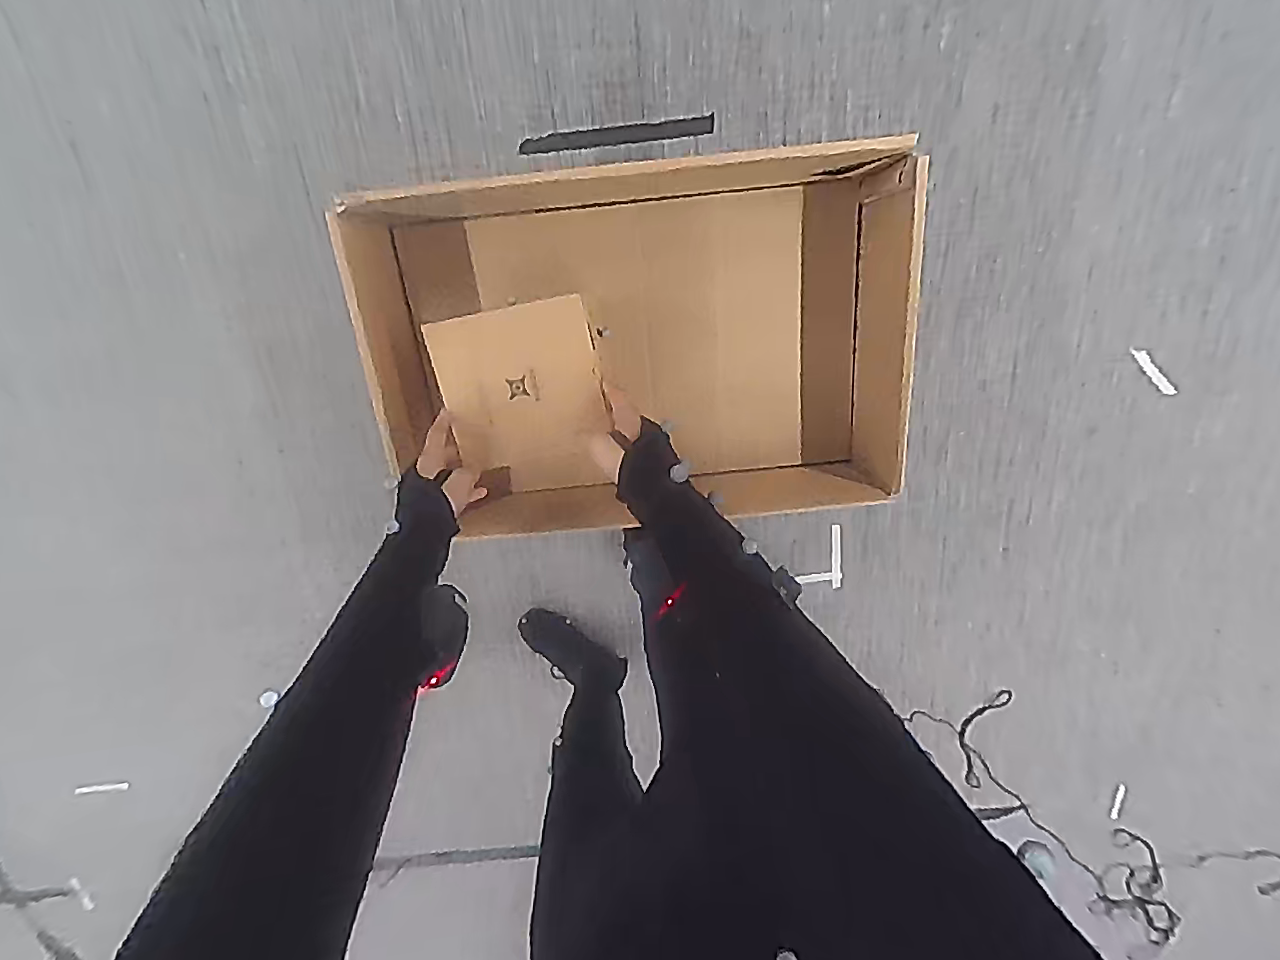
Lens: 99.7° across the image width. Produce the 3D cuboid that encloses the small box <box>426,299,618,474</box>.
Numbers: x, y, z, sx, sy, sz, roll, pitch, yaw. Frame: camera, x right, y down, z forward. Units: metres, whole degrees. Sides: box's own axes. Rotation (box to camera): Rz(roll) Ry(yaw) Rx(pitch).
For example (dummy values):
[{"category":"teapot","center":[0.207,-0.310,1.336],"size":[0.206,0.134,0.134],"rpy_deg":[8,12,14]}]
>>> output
[{"category":"small box","center":[-0.126,-0.121,0.659],"size":[0.179,0.176,0.168],"rpy_deg":[-11,106,4]}]
